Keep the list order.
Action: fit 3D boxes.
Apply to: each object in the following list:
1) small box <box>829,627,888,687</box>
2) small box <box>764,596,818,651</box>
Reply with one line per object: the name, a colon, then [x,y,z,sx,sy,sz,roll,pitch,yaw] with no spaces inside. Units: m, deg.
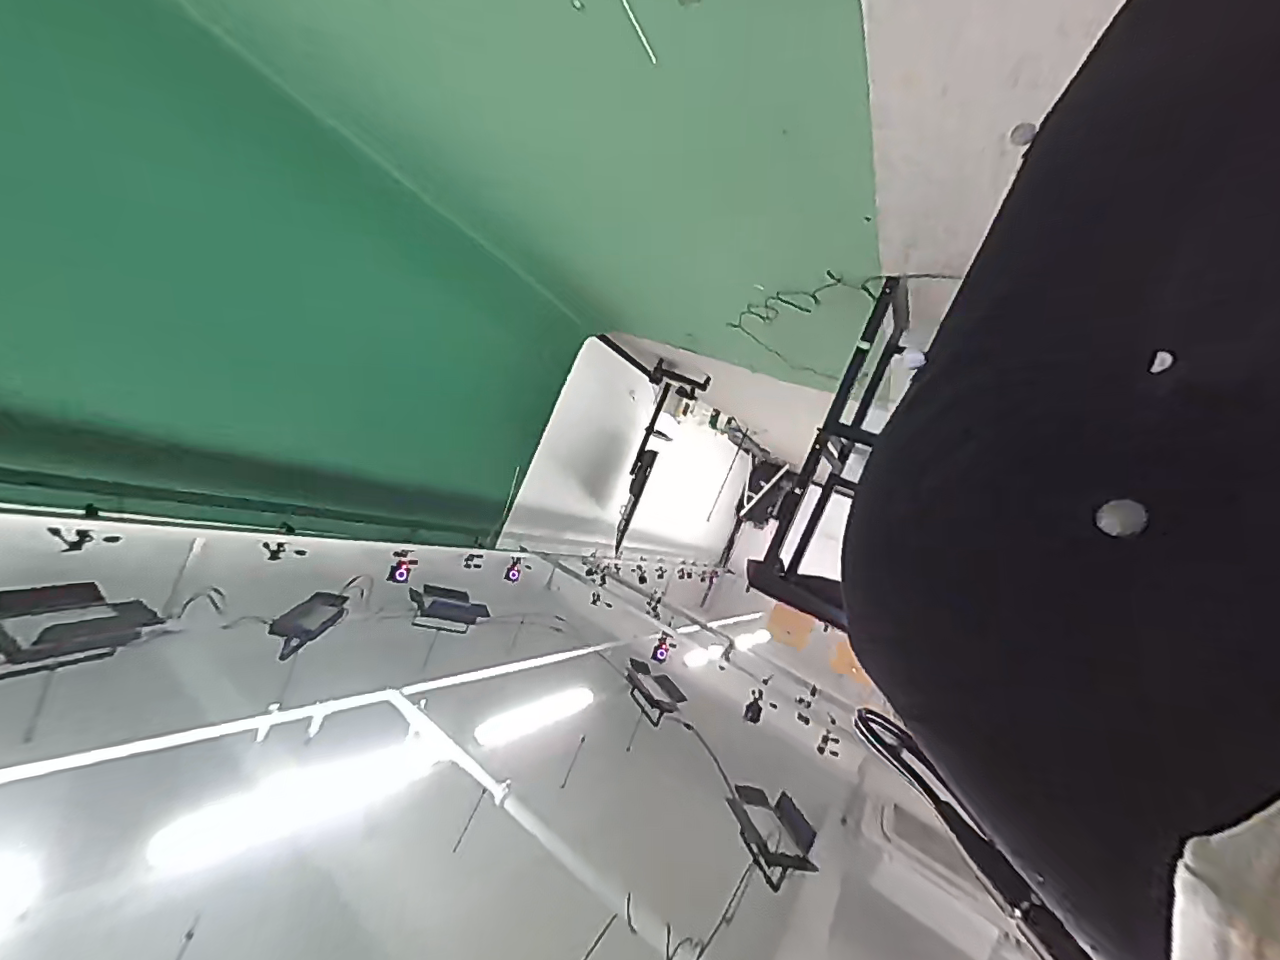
small box: [0.902,0.720,2.226,0.179,0.176,0.168,22,-178,27]
small box: [0.665,0.620,2.355,0.179,0.176,0.168,23,180,24]
